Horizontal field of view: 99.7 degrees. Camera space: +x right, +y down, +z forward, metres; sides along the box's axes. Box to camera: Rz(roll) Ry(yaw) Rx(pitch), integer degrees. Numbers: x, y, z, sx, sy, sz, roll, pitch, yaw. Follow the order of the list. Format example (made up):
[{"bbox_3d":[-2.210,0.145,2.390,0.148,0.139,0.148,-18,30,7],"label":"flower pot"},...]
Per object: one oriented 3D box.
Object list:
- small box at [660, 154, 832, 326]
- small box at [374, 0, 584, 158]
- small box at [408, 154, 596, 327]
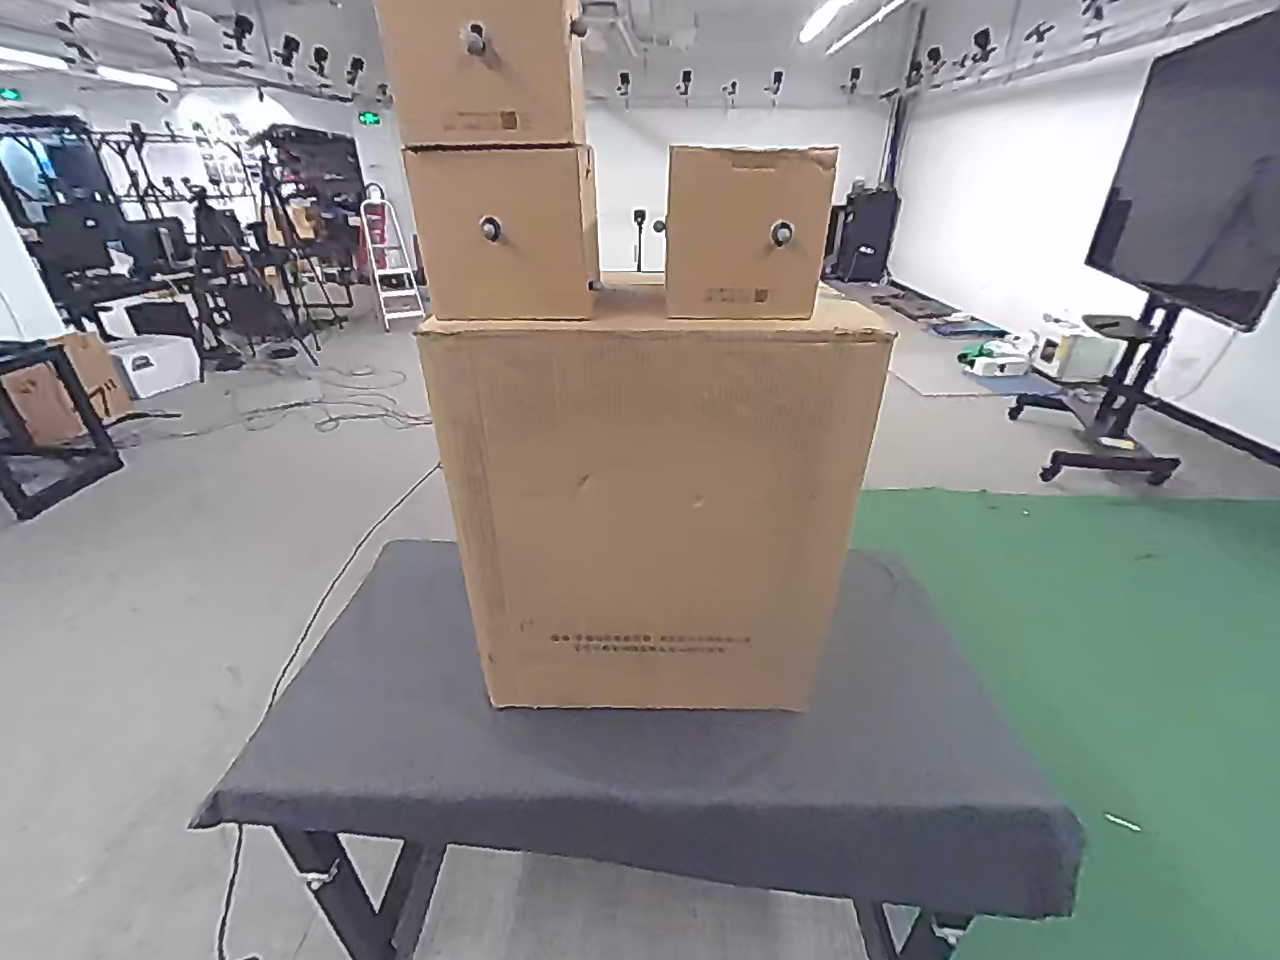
[{"bbox_3d":[0.110,-0.285,0.639,0.168,0.176,0.179,2,30,1],"label":"small box"},{"bbox_3d":[-0.147,-0.423,0.548,0.168,0.176,0.179,-1,32,-1],"label":"small box"},{"bbox_3d":[-0.141,-0.283,0.632,0.179,0.176,0.168,0,32,-2],"label":"small box"}]
